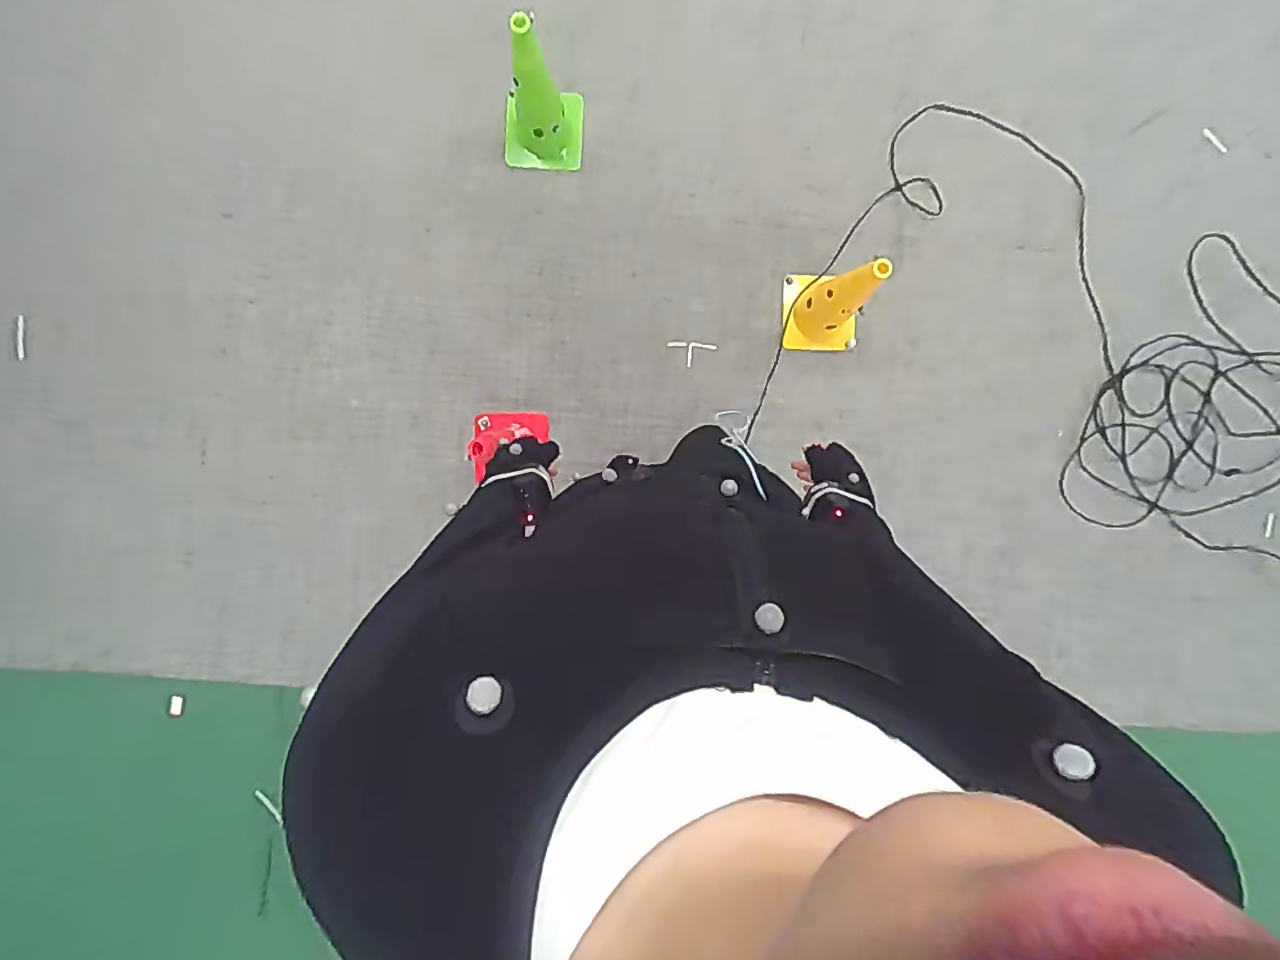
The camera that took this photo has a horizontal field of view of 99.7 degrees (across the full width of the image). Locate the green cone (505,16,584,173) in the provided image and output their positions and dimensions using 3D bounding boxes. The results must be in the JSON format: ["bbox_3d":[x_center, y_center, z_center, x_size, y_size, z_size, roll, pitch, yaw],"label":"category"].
[{"bbox_3d":[-0.241,-0.907,1.252,0.202,0.368,0.200,2,93,-3],"label":"green cone"}]

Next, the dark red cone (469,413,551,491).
[{"bbox_3d":[-0.330,-0.064,1.260,0.202,0.394,0.201,-2,94,-2],"label":"dark red cone"}]
